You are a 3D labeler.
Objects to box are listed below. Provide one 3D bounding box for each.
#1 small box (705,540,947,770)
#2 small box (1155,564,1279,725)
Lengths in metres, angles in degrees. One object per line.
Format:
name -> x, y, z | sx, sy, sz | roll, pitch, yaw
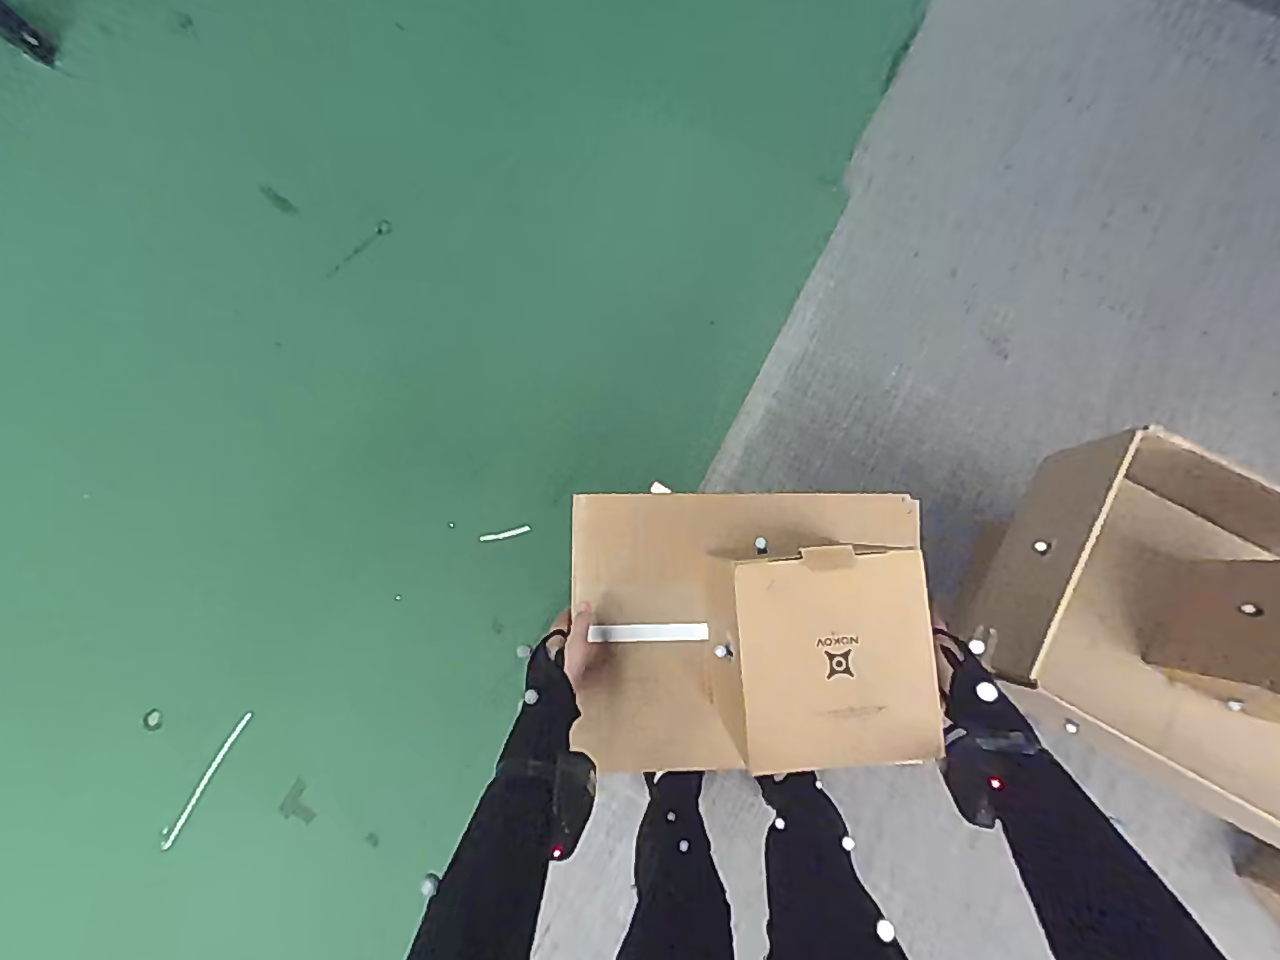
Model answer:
small box -> 0.160, 0.151, 0.524 | 0.168, 0.176, 0.179 | -3, 84, -3
small box -> 0.858, 0.222, 0.722 | 0.168, 0.176, 0.179 | 27, 83, 6
